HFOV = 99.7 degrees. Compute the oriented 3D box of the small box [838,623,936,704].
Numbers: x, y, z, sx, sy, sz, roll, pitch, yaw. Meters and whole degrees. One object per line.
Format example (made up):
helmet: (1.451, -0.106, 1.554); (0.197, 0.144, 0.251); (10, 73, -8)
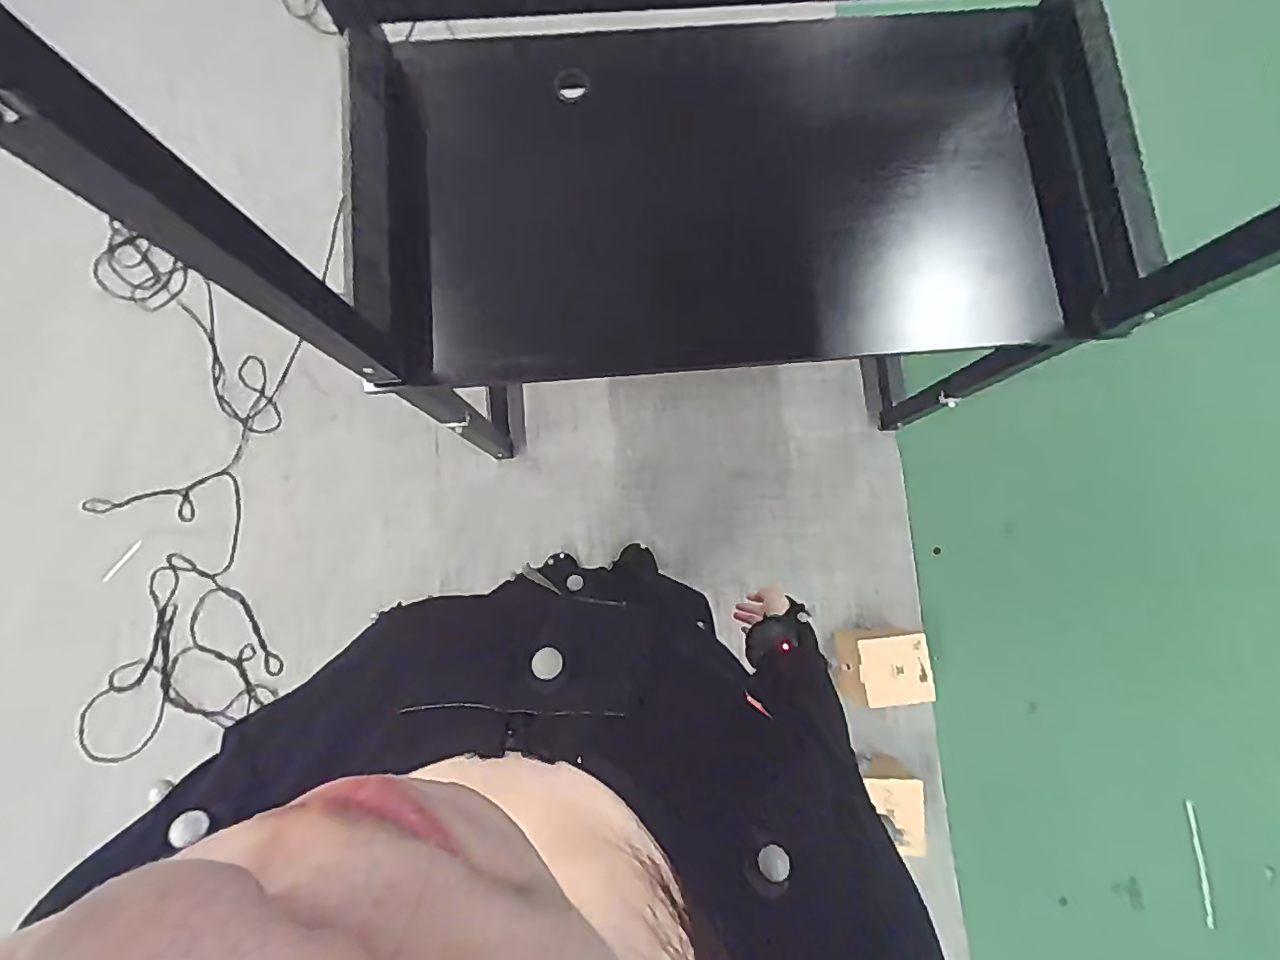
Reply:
small box: (0.631, 0.471, 1.405); (0.179, 0.176, 0.168); (-6, 83, -1)
